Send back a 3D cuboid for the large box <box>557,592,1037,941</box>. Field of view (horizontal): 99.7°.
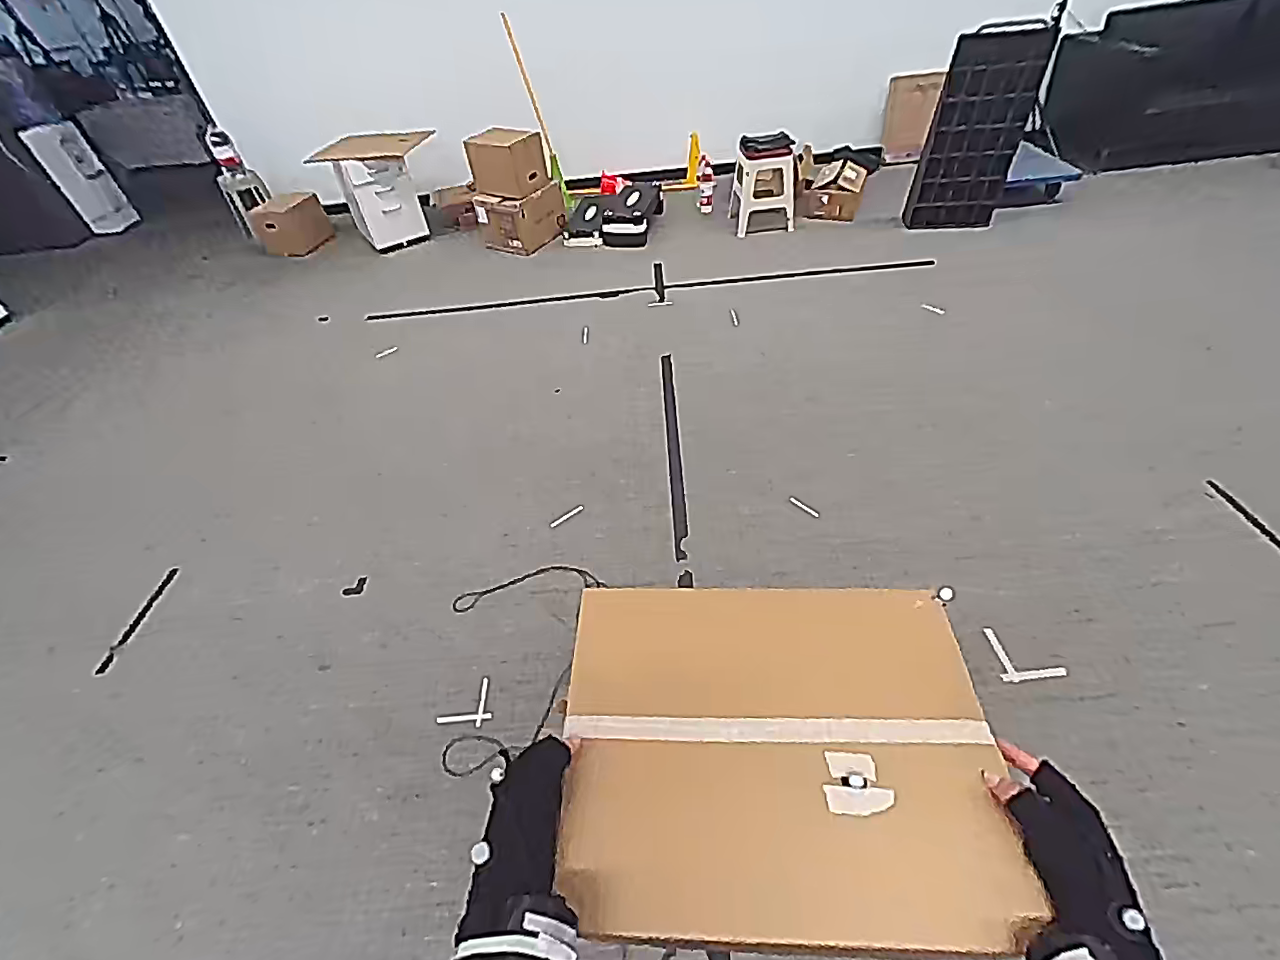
[{"bbox_3d":[0.135,0.350,0.654,0.408,0.320,0.320,-1,49,4],"label":"large box"}]
